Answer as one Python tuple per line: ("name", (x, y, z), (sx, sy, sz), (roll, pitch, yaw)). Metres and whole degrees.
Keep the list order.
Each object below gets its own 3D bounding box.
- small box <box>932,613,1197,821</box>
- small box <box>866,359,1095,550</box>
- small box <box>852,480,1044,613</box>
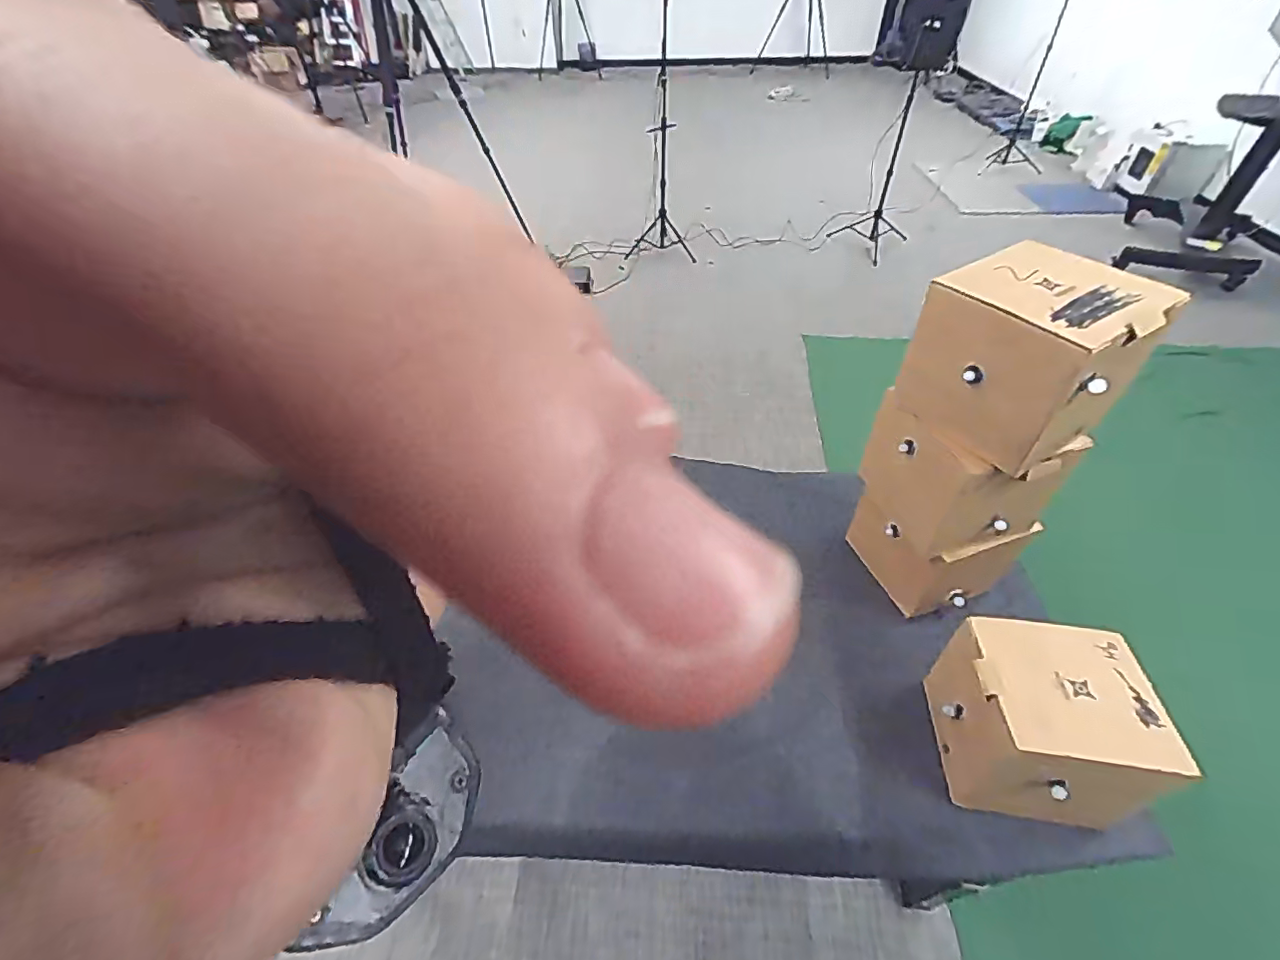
("small box", (0.475, 0.284, 0.649), (0.179, 0.176, 0.168), (5, 43, 8))
("small box", (0.435, -0.034, 0.731), (0.168, 0.176, 0.179), (-14, 48, -7))
("small box", (0.463, 0.078, 0.851), (0.168, 0.176, 0.179), (-17, 50, -10))
